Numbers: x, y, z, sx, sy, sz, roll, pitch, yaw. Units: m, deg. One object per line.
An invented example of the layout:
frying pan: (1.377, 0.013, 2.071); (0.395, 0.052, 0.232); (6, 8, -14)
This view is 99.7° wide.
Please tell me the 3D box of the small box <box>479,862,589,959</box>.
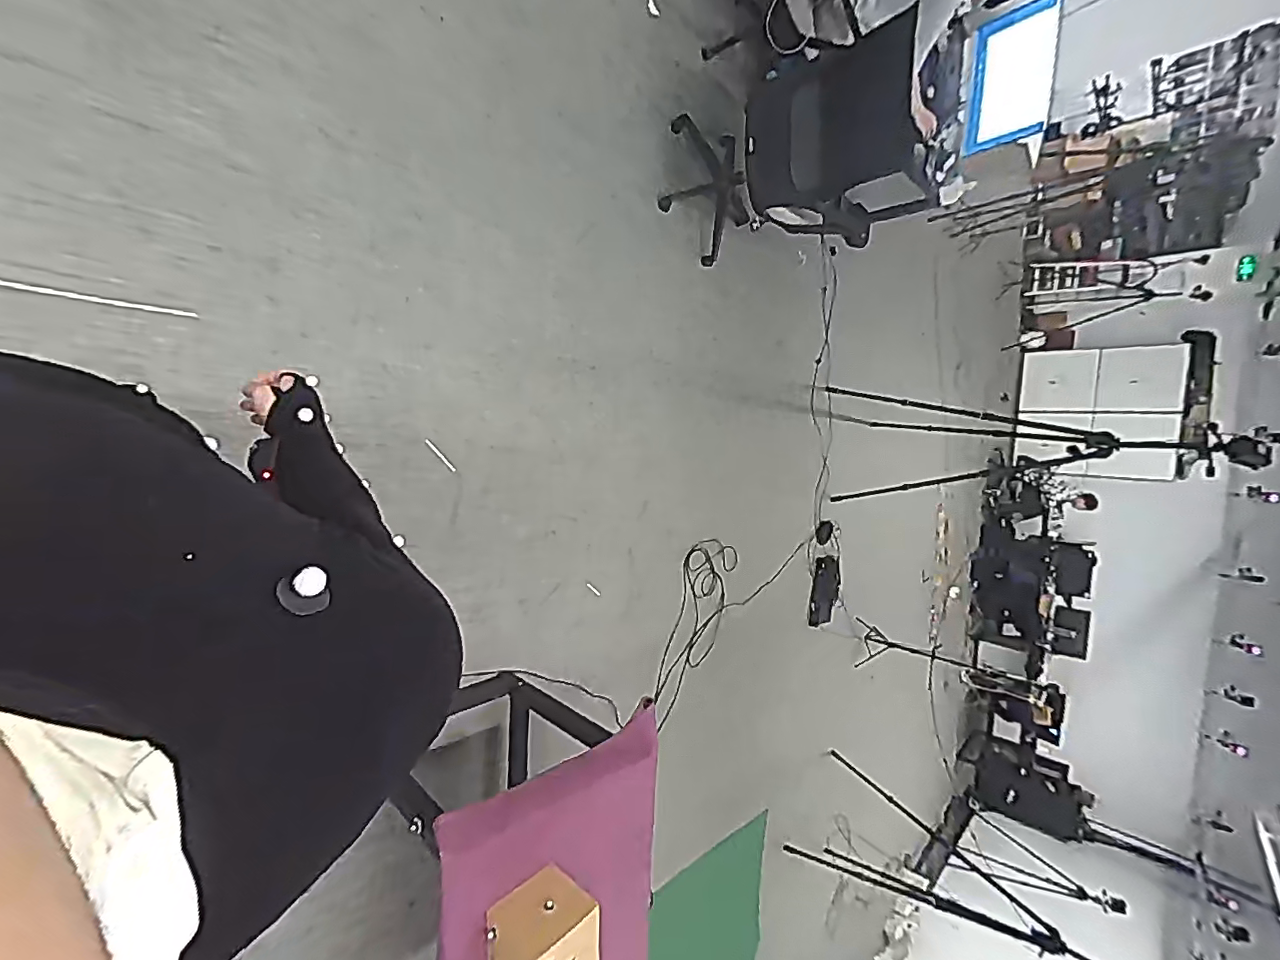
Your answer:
small box: (-0.230, 0.980, 1.159); (0.179, 0.176, 0.168); (-6, 100, -47)
